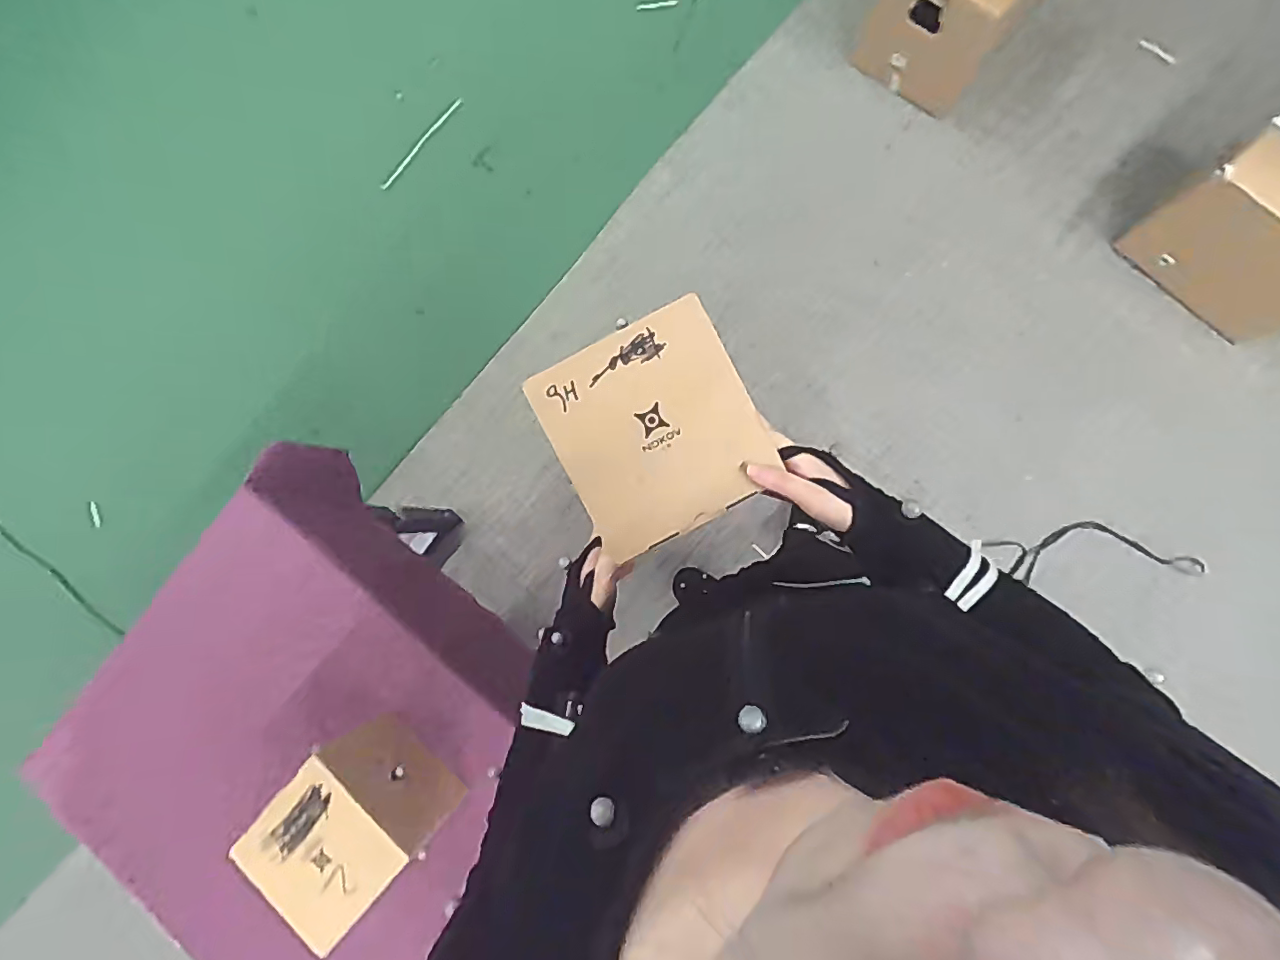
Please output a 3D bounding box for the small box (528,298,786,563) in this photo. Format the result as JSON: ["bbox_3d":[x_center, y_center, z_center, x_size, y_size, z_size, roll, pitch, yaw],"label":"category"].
[{"bbox_3d":[0.015,-0.045,0.531,0.168,0.176,0.179,-26,93,0],"label":"small box"}]
